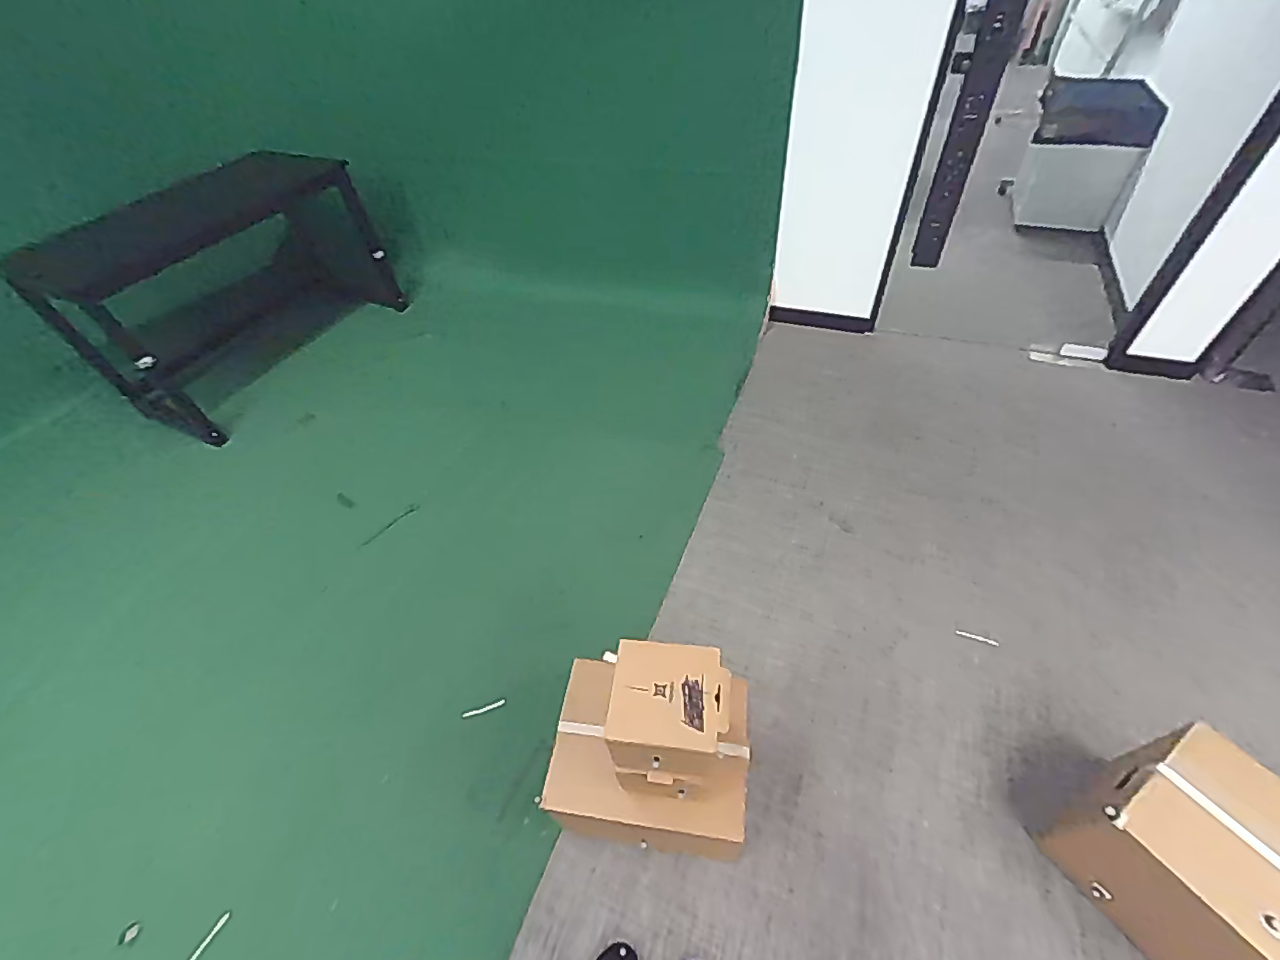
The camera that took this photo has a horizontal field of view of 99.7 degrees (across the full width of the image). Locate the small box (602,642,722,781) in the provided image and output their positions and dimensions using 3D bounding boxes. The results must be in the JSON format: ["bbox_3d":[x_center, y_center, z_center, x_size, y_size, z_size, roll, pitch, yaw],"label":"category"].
[{"bbox_3d":[0.045,0.395,0.917,0.179,0.176,0.168,3,49,9],"label":"small box"}]

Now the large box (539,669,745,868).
[{"bbox_3d":[0.033,0.658,1.234,0.408,0.320,0.320,3,47,10],"label":"large box"}]

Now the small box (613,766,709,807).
[{"bbox_3d":[0.053,0.507,1.038,0.168,0.176,0.179,4,49,9],"label":"small box"}]
